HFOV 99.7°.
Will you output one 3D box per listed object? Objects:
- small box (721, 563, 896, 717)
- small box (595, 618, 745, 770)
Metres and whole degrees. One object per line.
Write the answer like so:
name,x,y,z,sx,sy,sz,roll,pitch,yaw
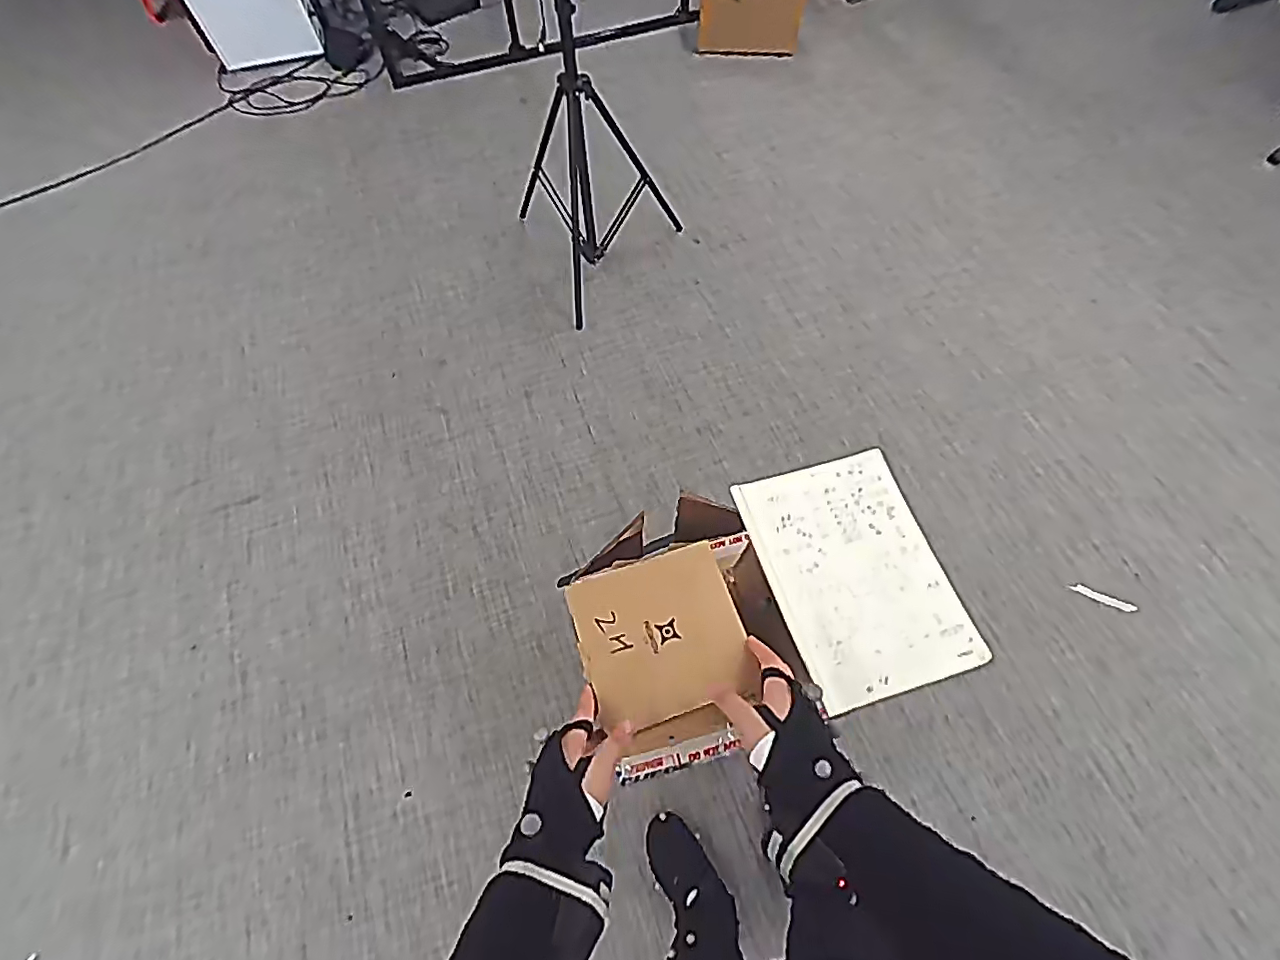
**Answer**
small box,0.244,0.250,0.832,0.179,0.176,0.168,-19,66,-10
small box,0.038,0.315,0.802,0.179,0.176,0.168,-12,66,-3
